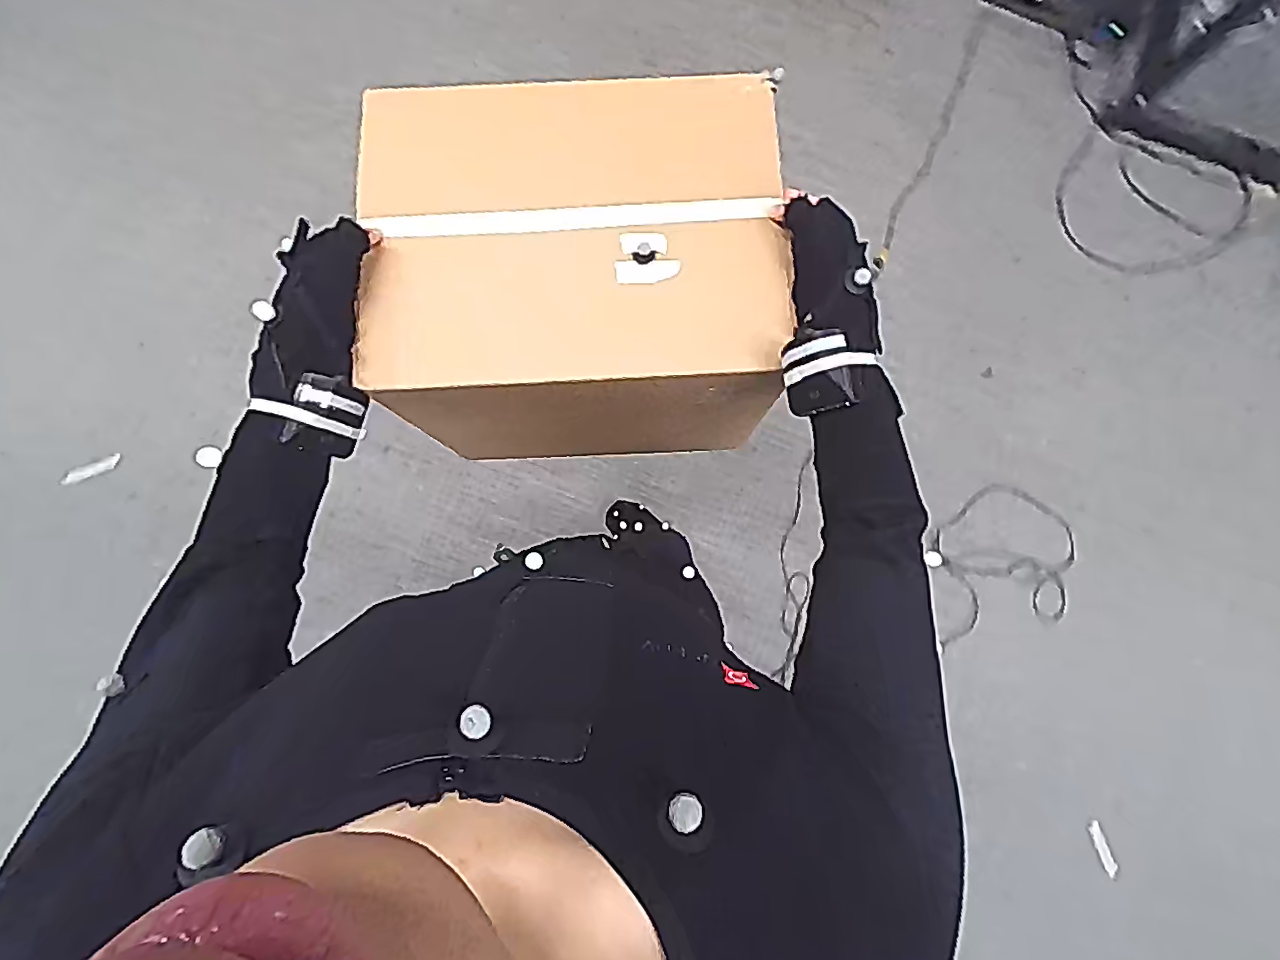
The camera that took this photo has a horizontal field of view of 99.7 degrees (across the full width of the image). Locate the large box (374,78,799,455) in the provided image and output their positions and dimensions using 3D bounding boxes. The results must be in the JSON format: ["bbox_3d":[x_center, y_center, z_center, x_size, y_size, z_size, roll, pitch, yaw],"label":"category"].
[{"bbox_3d":[-0.060,-0.225,0.674,0.408,0.320,0.320,-3,80,0],"label":"large box"}]
